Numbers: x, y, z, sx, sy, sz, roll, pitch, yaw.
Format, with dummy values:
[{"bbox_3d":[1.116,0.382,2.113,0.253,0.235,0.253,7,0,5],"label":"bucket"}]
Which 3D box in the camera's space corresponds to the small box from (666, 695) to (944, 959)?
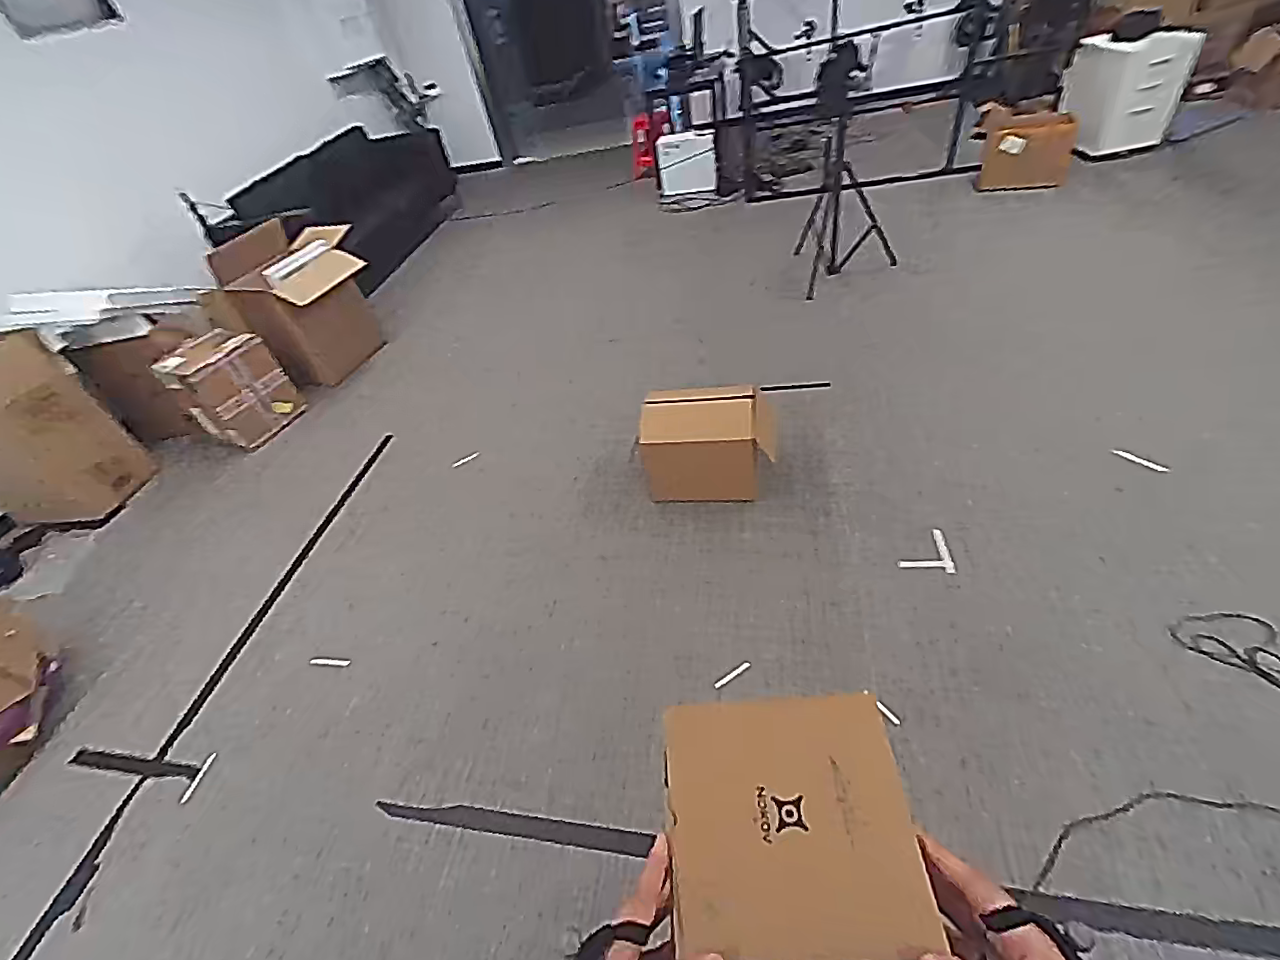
[{"bbox_3d":[0.121,0.301,0.464,0.179,0.176,0.168,-6,49,5],"label":"small box"}]
